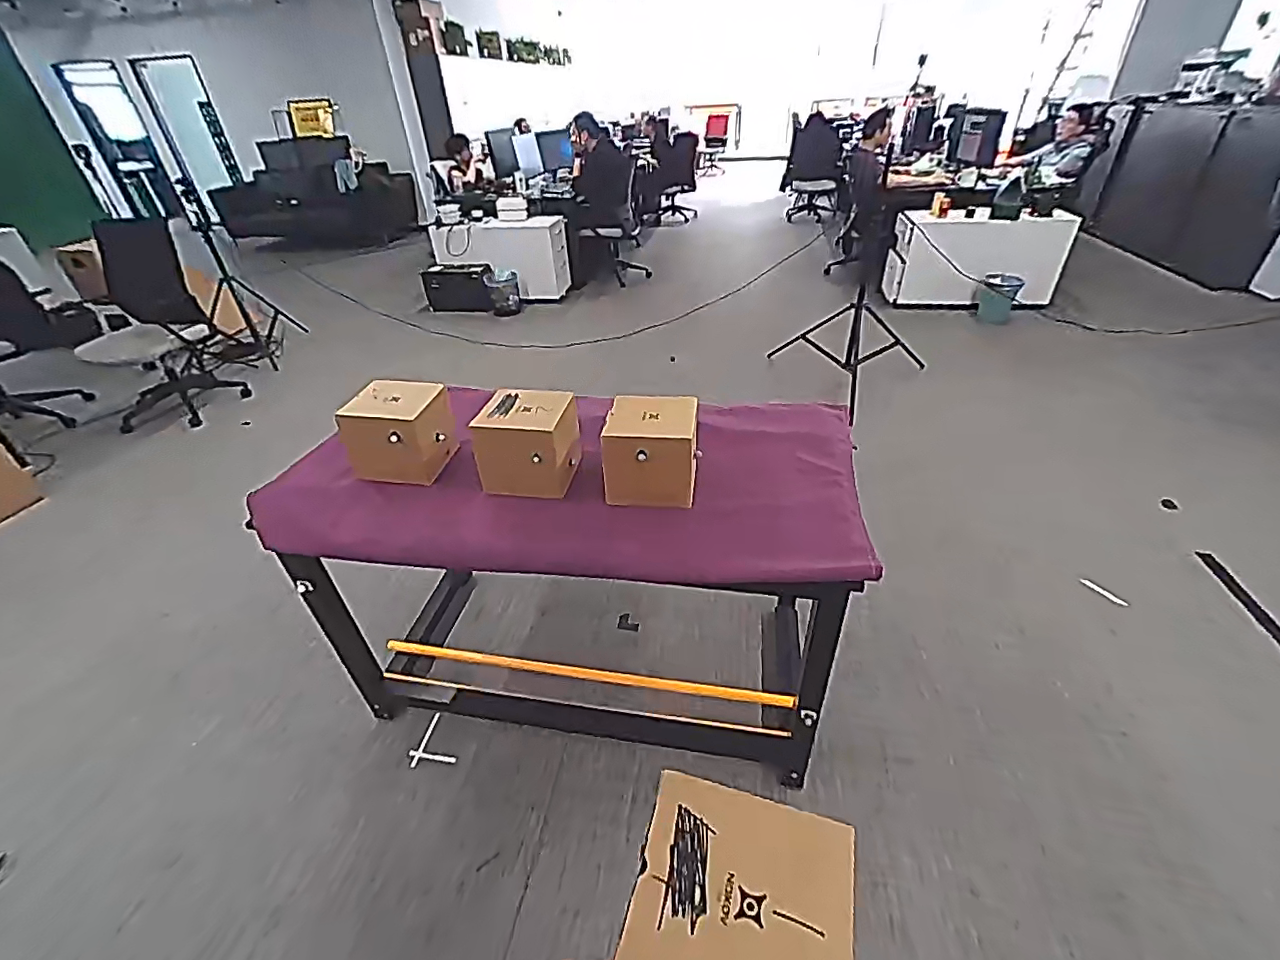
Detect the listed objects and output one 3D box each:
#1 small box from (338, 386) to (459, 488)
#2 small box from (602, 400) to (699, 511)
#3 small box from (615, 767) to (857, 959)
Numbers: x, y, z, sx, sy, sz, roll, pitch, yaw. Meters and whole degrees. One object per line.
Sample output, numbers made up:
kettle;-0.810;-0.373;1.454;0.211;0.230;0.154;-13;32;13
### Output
small box;-0.530;-0.096;1.218;0.179;0.176;0.168;4;35;7
small box;0.028;-0.050;1.115;0.179;0.176;0.168;2;36;9
small box;0.088;0.400;0.489;0.179;0.176;0.168;10;41;14
